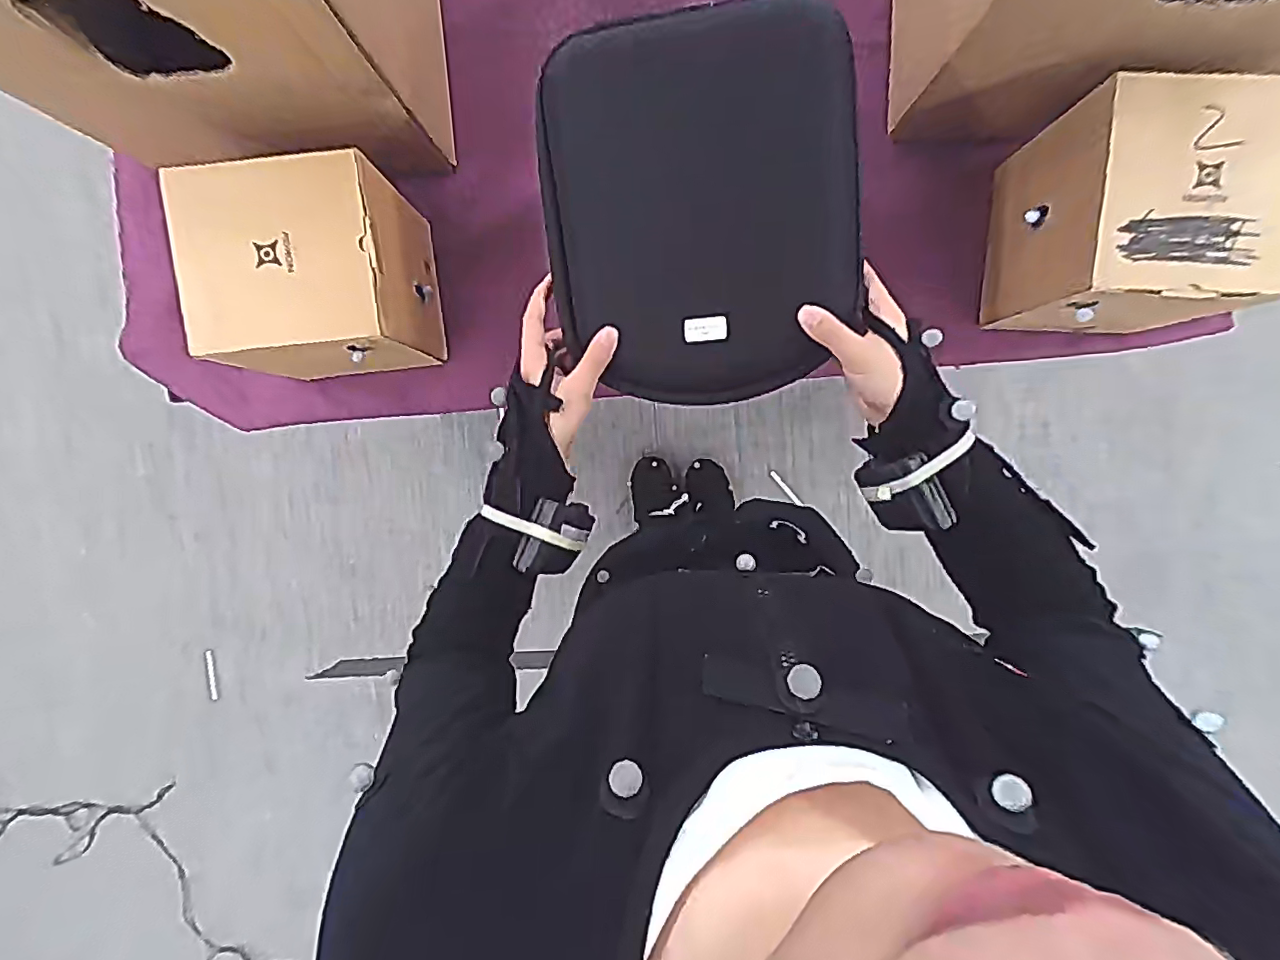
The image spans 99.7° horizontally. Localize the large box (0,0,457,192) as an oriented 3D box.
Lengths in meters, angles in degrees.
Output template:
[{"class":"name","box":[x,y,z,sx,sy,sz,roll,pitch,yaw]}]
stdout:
[{"class":"large box","box":[-0.382,-0.531,0.471,0.320,0.320,0.408,-5,98,1]}]
